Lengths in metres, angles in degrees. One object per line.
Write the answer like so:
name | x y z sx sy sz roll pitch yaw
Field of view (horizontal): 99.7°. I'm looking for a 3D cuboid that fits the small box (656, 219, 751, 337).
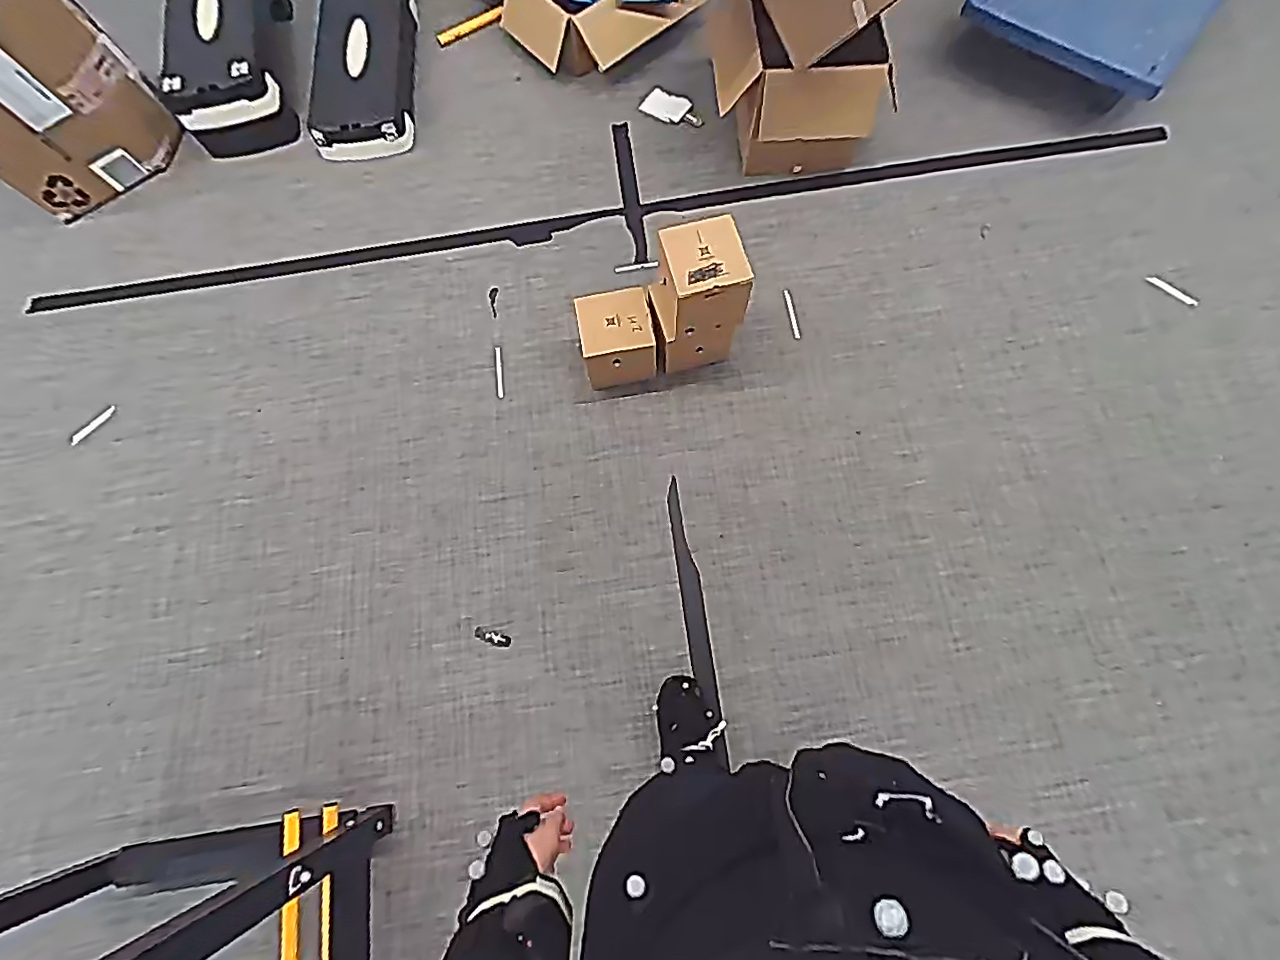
small box | 0.136 -0.441 1.214 0.168 0.176 0.179 -13 72 -3
